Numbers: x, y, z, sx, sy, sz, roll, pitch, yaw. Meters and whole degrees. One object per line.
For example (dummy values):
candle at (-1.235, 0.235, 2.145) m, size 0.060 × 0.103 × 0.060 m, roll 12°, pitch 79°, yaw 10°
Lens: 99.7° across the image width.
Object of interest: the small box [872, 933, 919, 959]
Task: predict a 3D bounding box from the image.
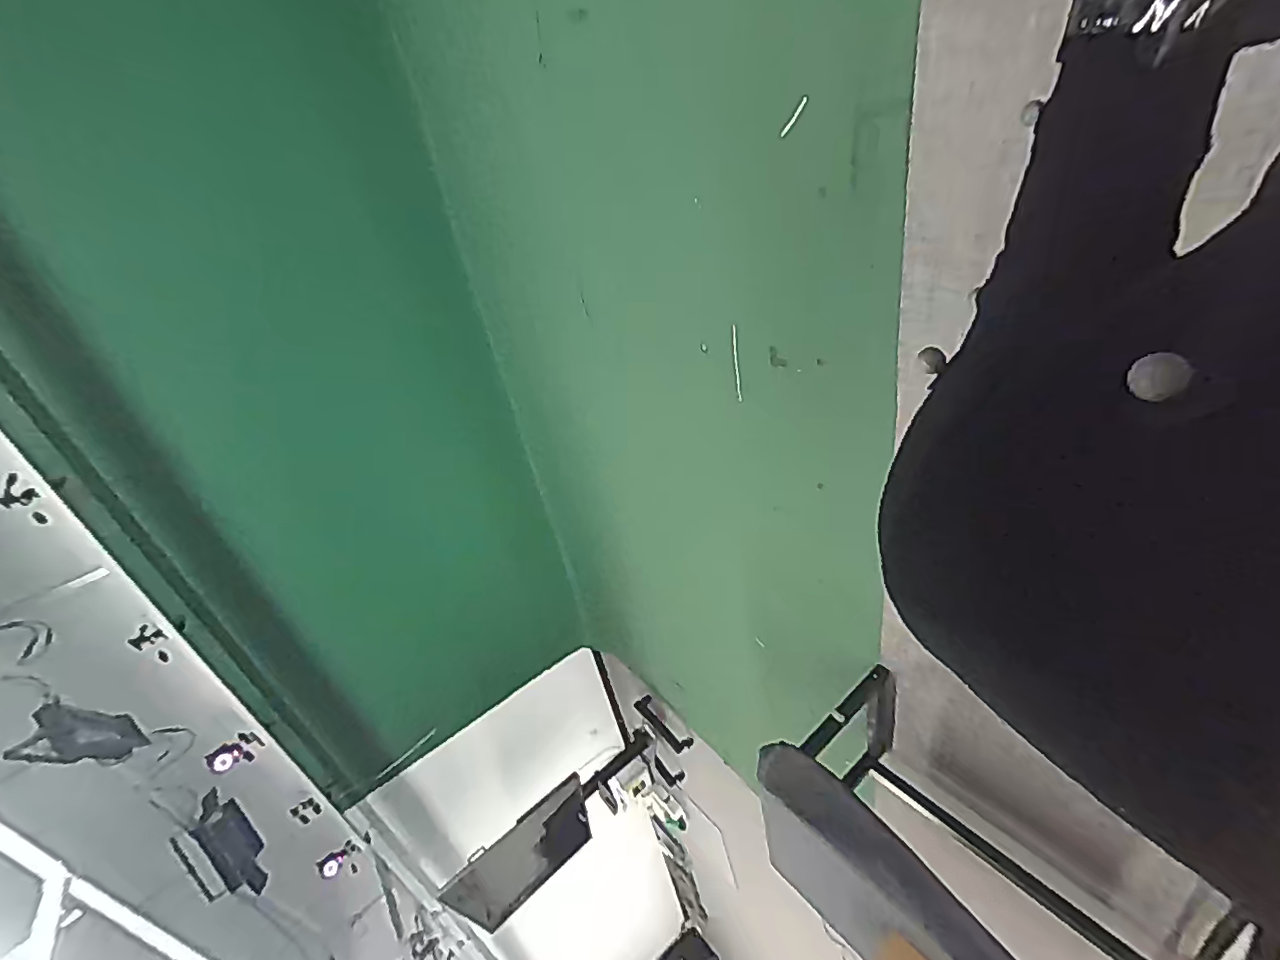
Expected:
small box at (0.753, 1.474, 1.555) m, size 0.179 × 0.176 × 0.168 m, roll 28°, pitch 139°, yaw 48°
